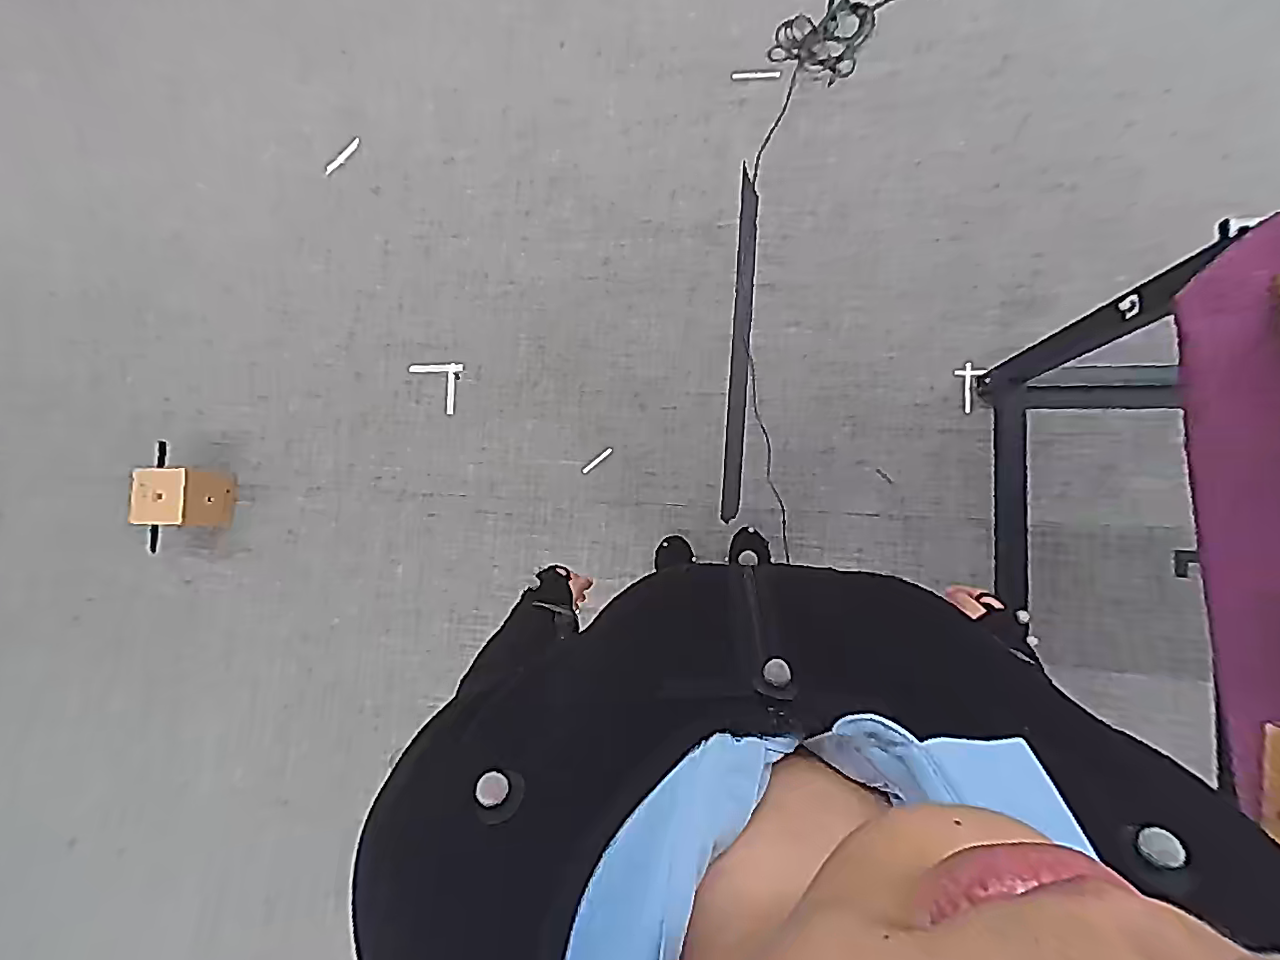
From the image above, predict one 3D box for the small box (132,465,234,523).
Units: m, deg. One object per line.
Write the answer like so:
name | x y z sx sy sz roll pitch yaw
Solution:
small box | -1.384 0.045 1.648 0.179 0.176 0.168 1 86 8
